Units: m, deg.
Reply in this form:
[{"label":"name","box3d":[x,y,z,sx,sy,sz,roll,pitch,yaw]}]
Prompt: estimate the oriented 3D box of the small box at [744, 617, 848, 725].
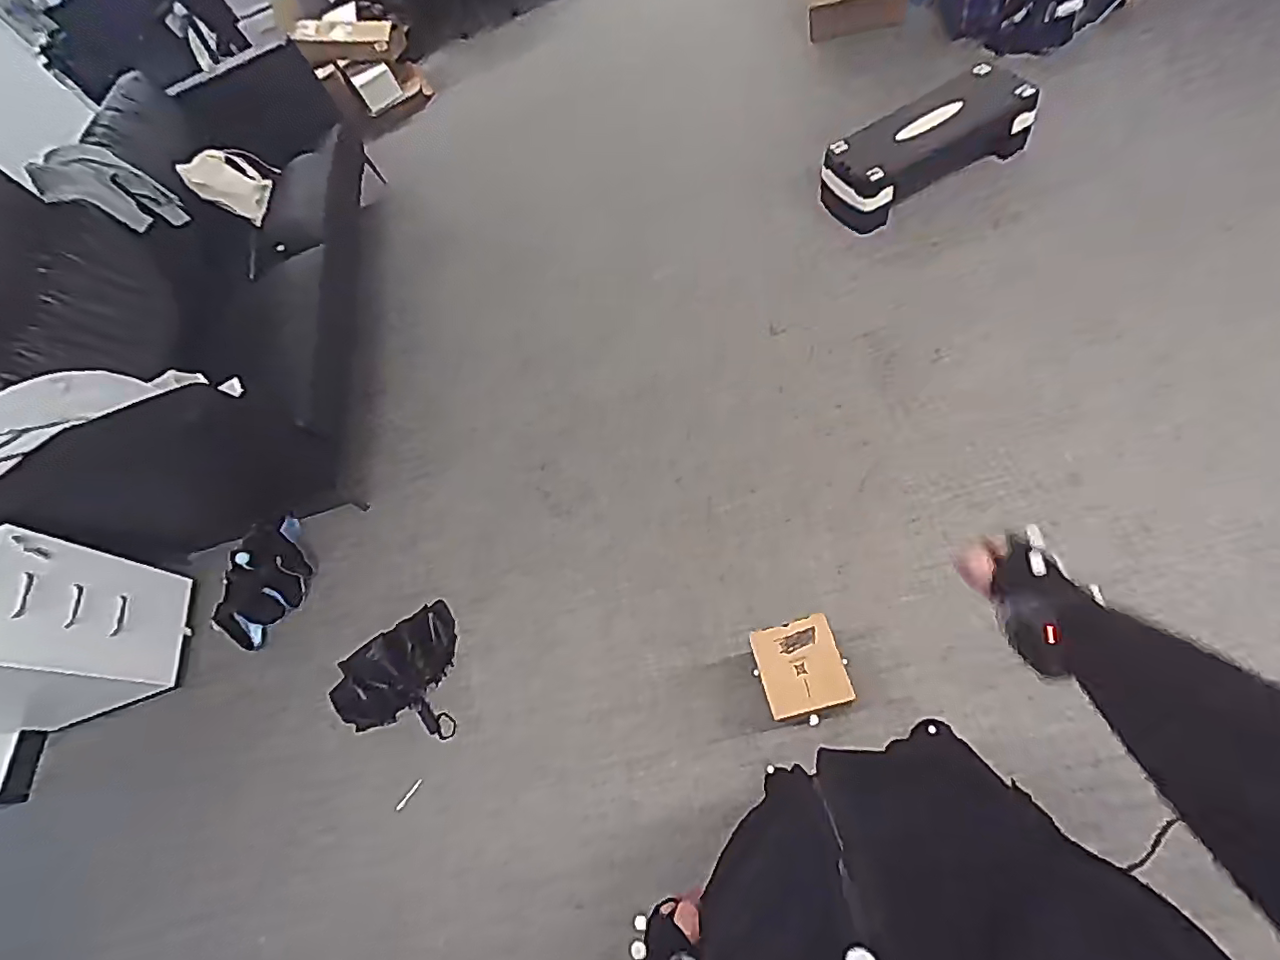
[{"label":"small box","box3d":[0.332,0.417,1.165,0.168,0.176,0.179,-18,60,8]}]
